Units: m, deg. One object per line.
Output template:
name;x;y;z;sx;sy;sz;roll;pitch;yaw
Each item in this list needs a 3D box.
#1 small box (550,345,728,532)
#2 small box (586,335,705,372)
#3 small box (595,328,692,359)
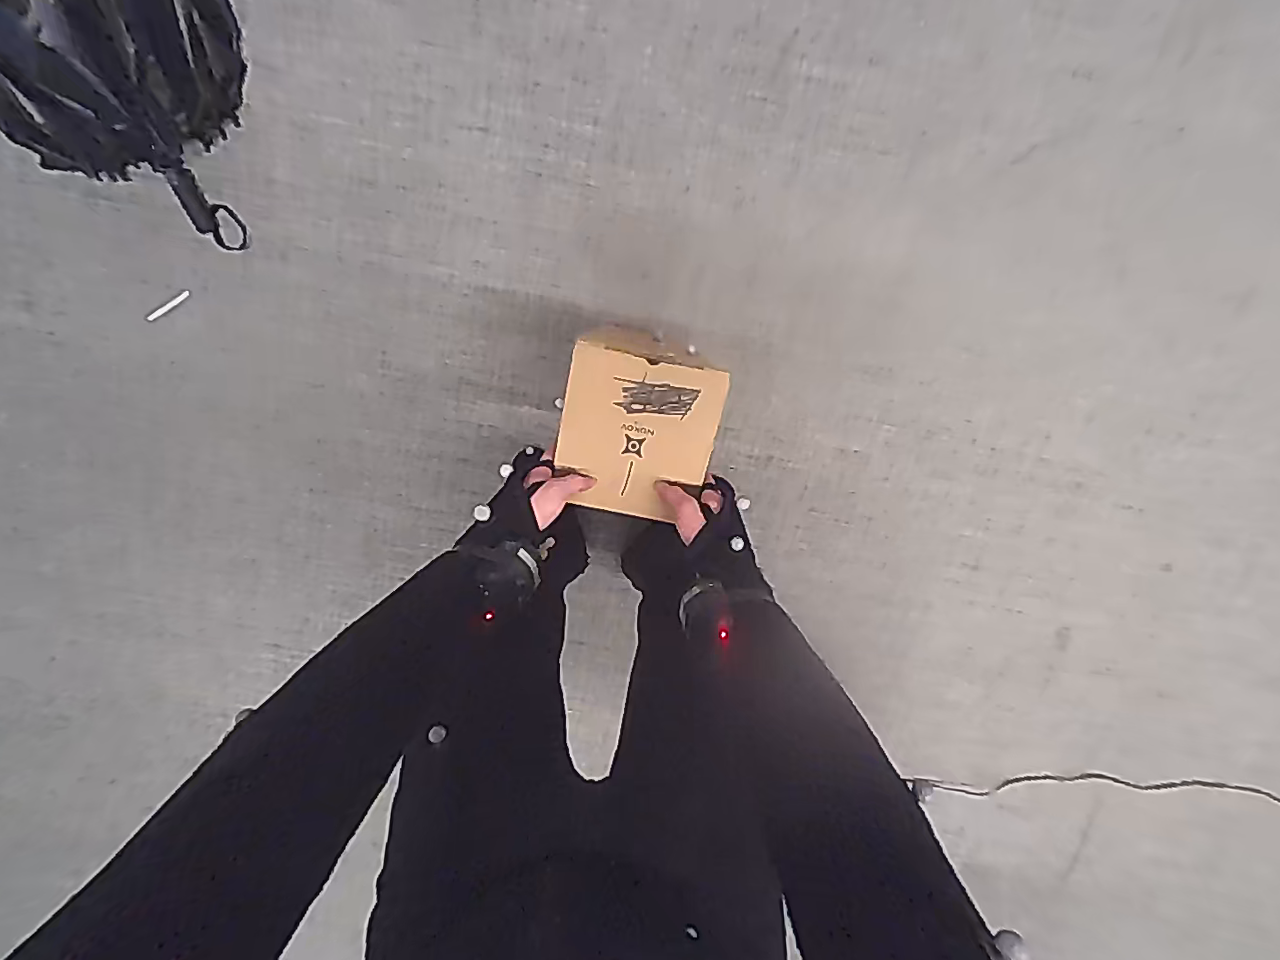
small box;-0.005;-0.060;0.658;0.168;0.176;0.179;11;107;-4
small box;-0.009;-0.114;0.818;0.168;0.176;0.179;11;107;-5
small box;-0.010;-0.166;0.972;0.168;0.176;0.179;12;108;-4
